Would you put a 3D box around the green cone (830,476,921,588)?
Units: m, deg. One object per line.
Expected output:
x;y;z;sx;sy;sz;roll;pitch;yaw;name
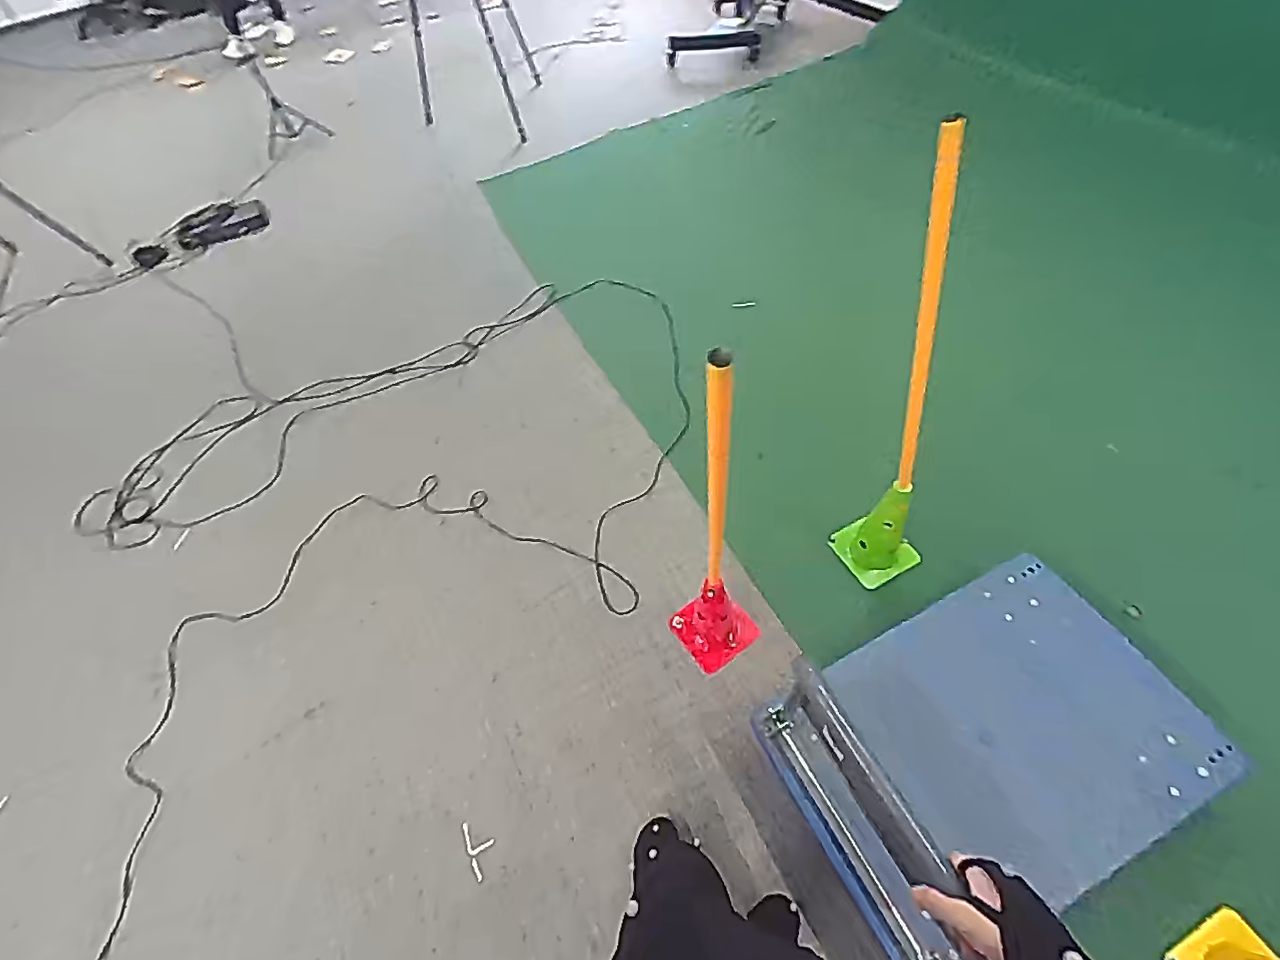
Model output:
0.688;0.111;1.487;0.202;0.368;0.200;-26;56;-11;green cone
